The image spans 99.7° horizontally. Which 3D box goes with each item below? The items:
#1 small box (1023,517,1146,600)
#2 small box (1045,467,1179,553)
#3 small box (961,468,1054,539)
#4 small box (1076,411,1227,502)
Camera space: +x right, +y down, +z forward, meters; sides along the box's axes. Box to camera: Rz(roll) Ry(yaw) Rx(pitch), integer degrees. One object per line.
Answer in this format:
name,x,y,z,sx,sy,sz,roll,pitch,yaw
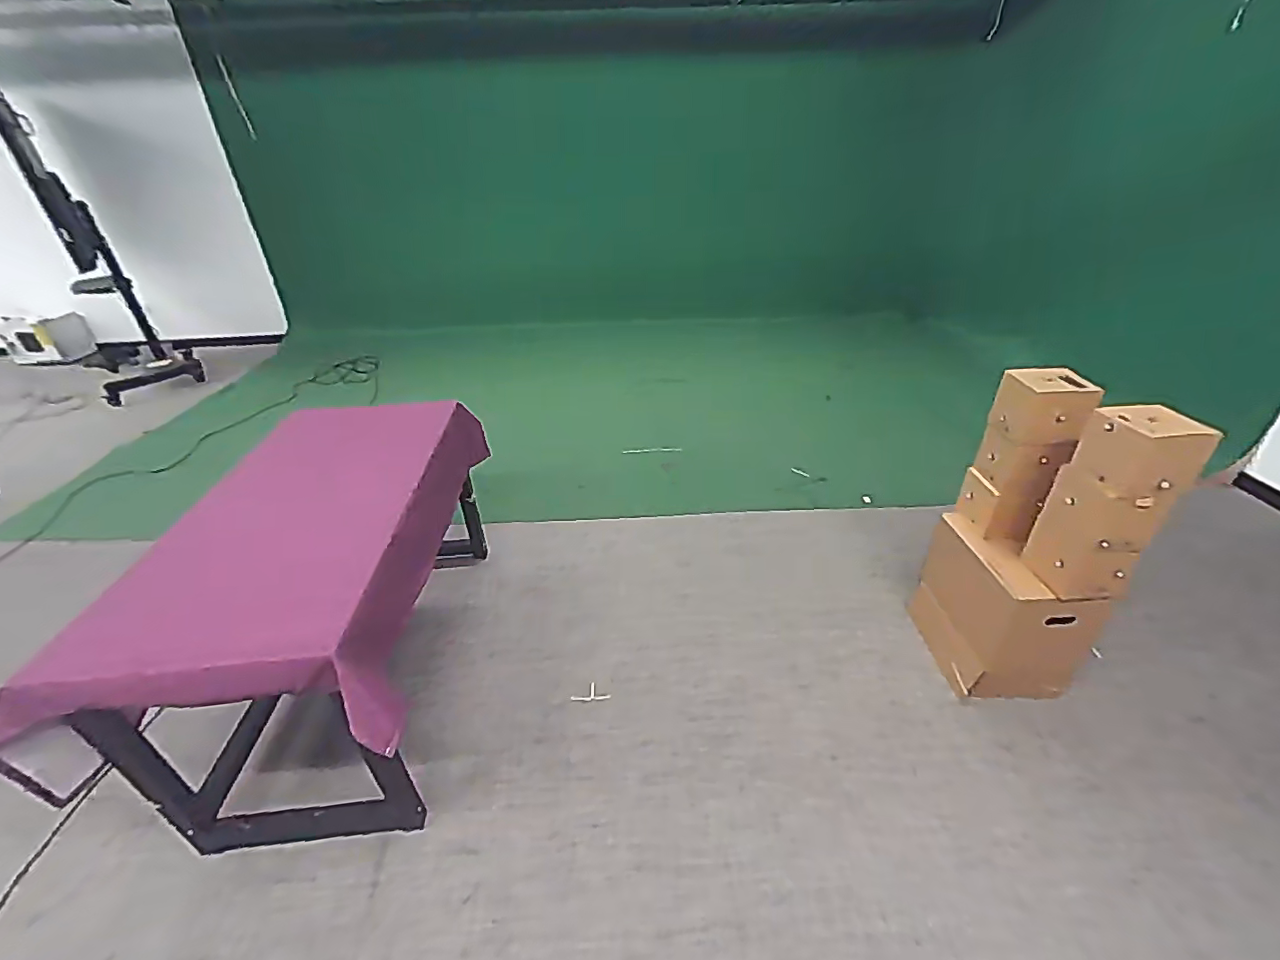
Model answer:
small box,1.216,0.217,1.494,0.168,0.176,0.179,-2,31,-2
small box,1.214,0.079,1.406,0.168,0.176,0.179,-1,31,-1
small box,1.152,0.076,1.715,0.179,0.176,0.168,-1,34,0
small box,1.226,-0.057,1.313,0.179,0.176,0.168,-2,31,-3
